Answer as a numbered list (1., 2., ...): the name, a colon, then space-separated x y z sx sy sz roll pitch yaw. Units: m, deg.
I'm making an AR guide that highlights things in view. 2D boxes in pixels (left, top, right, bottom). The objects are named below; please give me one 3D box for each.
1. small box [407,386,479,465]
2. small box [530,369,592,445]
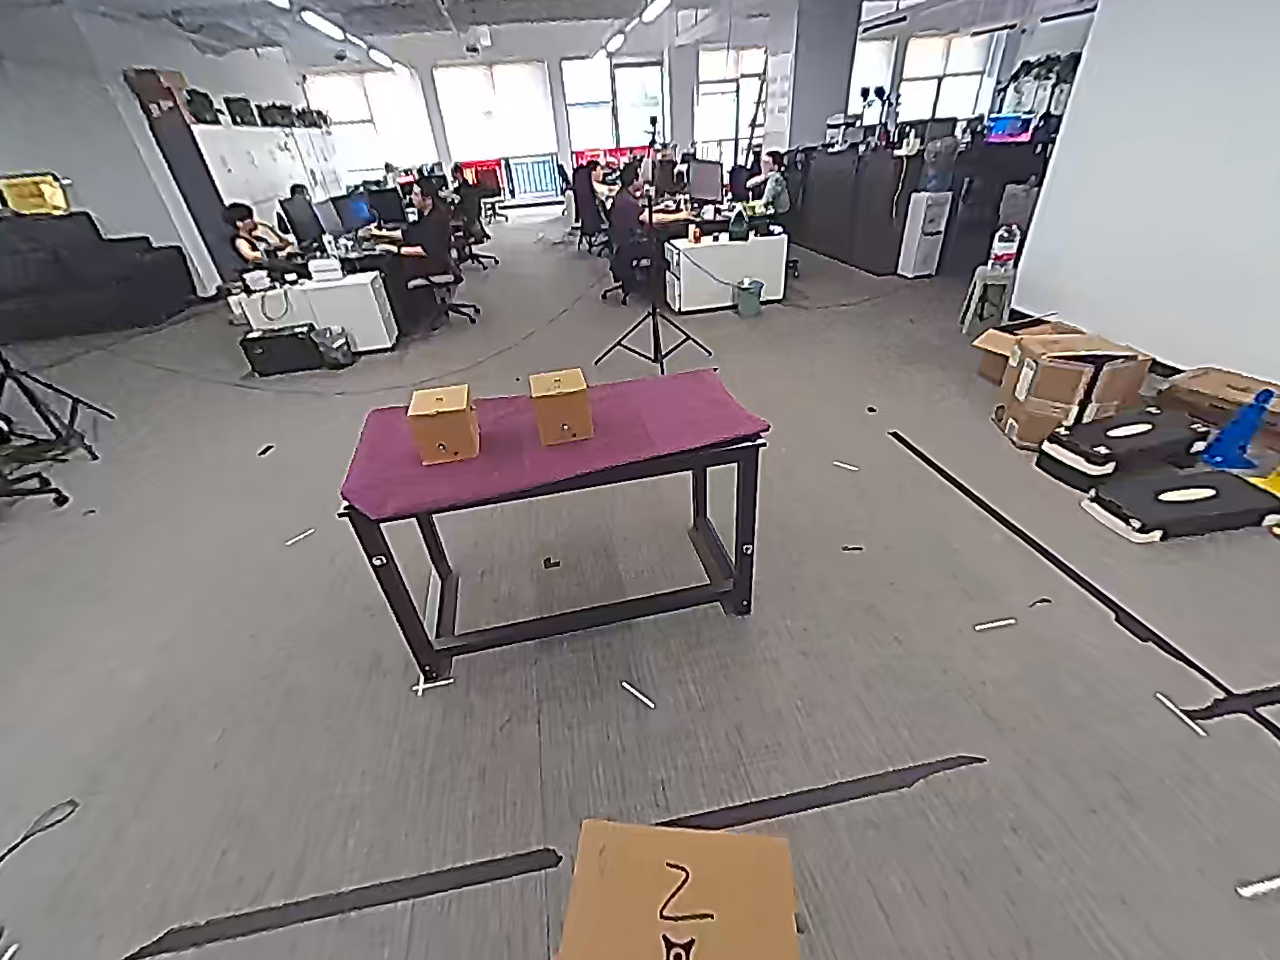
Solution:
1. small box: -0.593 -0.167 1.648 0.168 0.176 0.179 -10 35 -9
2. small box: -0.249 -0.230 1.700 0.168 0.176 0.179 -11 34 -8
